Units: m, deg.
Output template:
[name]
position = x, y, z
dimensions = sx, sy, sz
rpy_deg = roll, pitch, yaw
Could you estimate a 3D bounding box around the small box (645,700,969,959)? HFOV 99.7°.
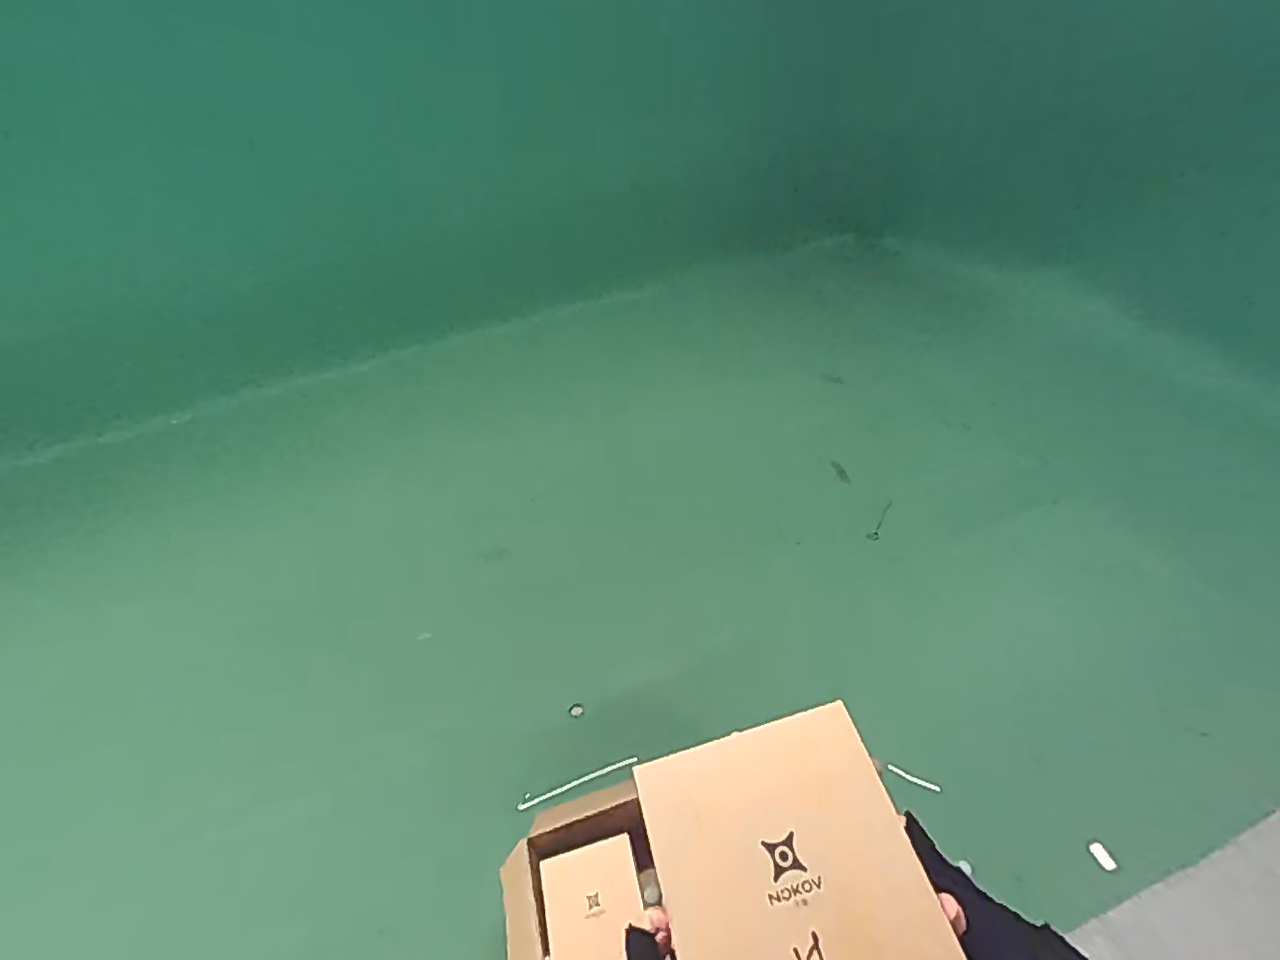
[small box]
position = 0.107, 0.297, 0.415
dimensions = 0.168, 0.176, 0.179
rpy_deg = -15, 55, -4
